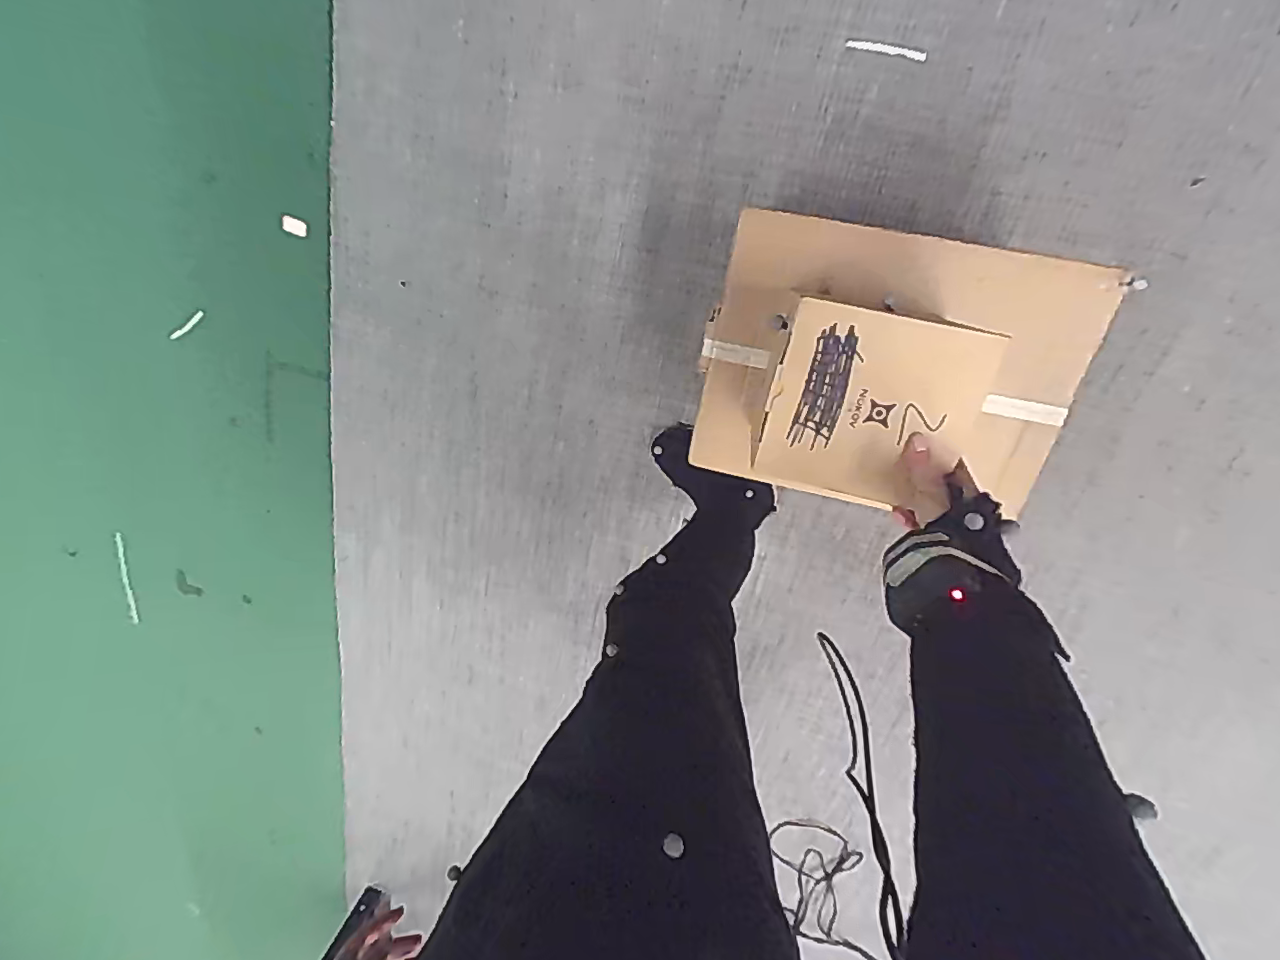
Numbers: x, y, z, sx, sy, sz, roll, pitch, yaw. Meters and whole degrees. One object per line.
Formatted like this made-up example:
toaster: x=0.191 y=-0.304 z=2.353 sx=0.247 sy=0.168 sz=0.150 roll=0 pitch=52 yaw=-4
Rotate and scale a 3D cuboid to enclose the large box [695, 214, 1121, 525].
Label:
large box: x=0.310 y=-0.172 z=0.772 sx=0.408 sy=0.320 sz=0.320 roll=12 pitch=114 yaw=7
